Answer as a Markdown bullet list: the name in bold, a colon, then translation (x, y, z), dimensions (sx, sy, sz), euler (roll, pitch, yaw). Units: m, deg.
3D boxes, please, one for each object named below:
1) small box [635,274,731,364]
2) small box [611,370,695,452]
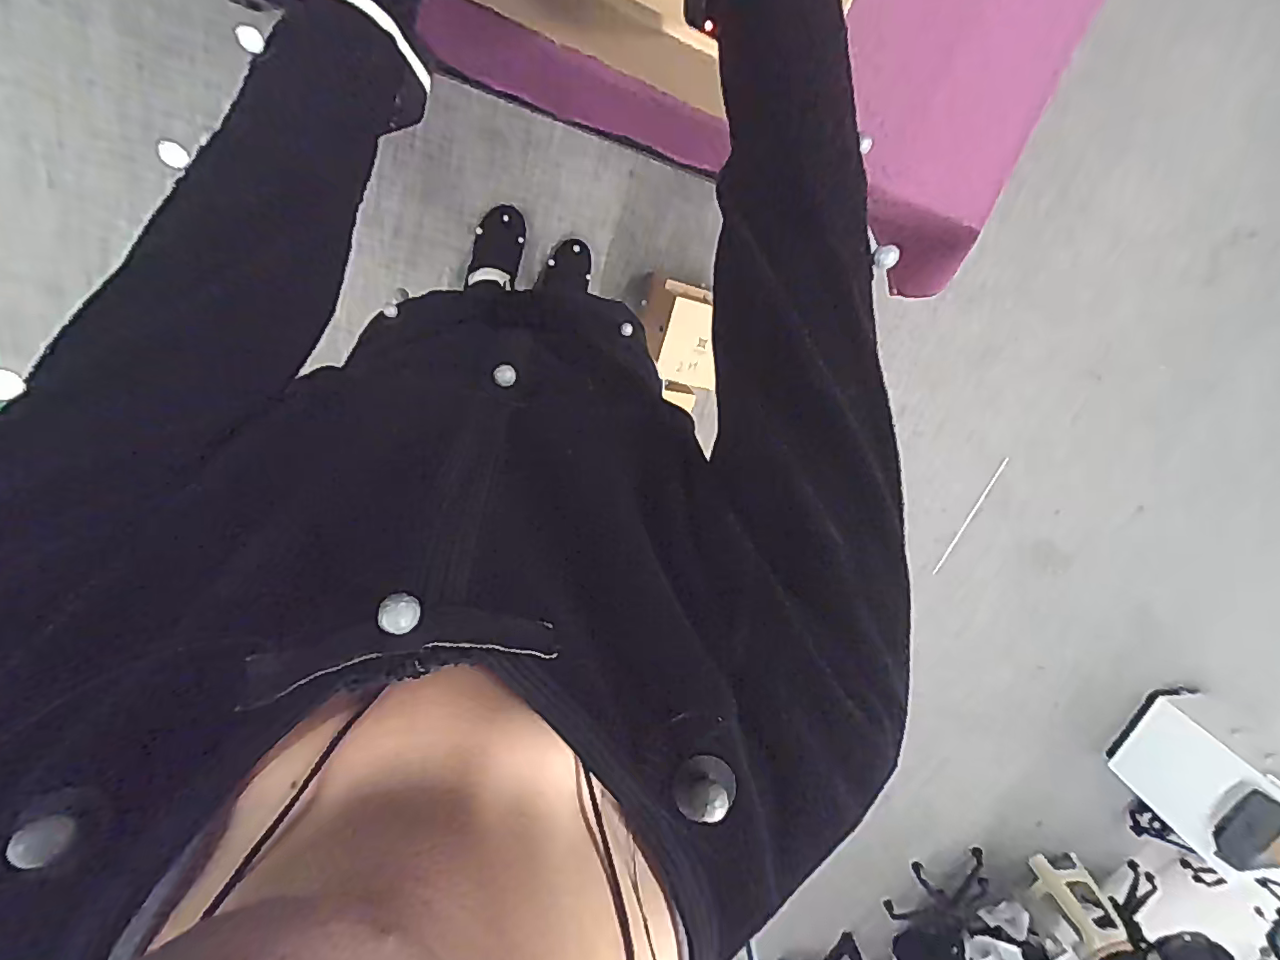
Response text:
- **small box**: translation (0.101, -0.411, 1.364), dimensions (0.179, 0.176, 0.168), euler (12, 113, -15)
- **small box**: translation (0.026, -0.191, 1.460), dimensions (0.179, 0.176, 0.168), euler (7, 114, -15)
